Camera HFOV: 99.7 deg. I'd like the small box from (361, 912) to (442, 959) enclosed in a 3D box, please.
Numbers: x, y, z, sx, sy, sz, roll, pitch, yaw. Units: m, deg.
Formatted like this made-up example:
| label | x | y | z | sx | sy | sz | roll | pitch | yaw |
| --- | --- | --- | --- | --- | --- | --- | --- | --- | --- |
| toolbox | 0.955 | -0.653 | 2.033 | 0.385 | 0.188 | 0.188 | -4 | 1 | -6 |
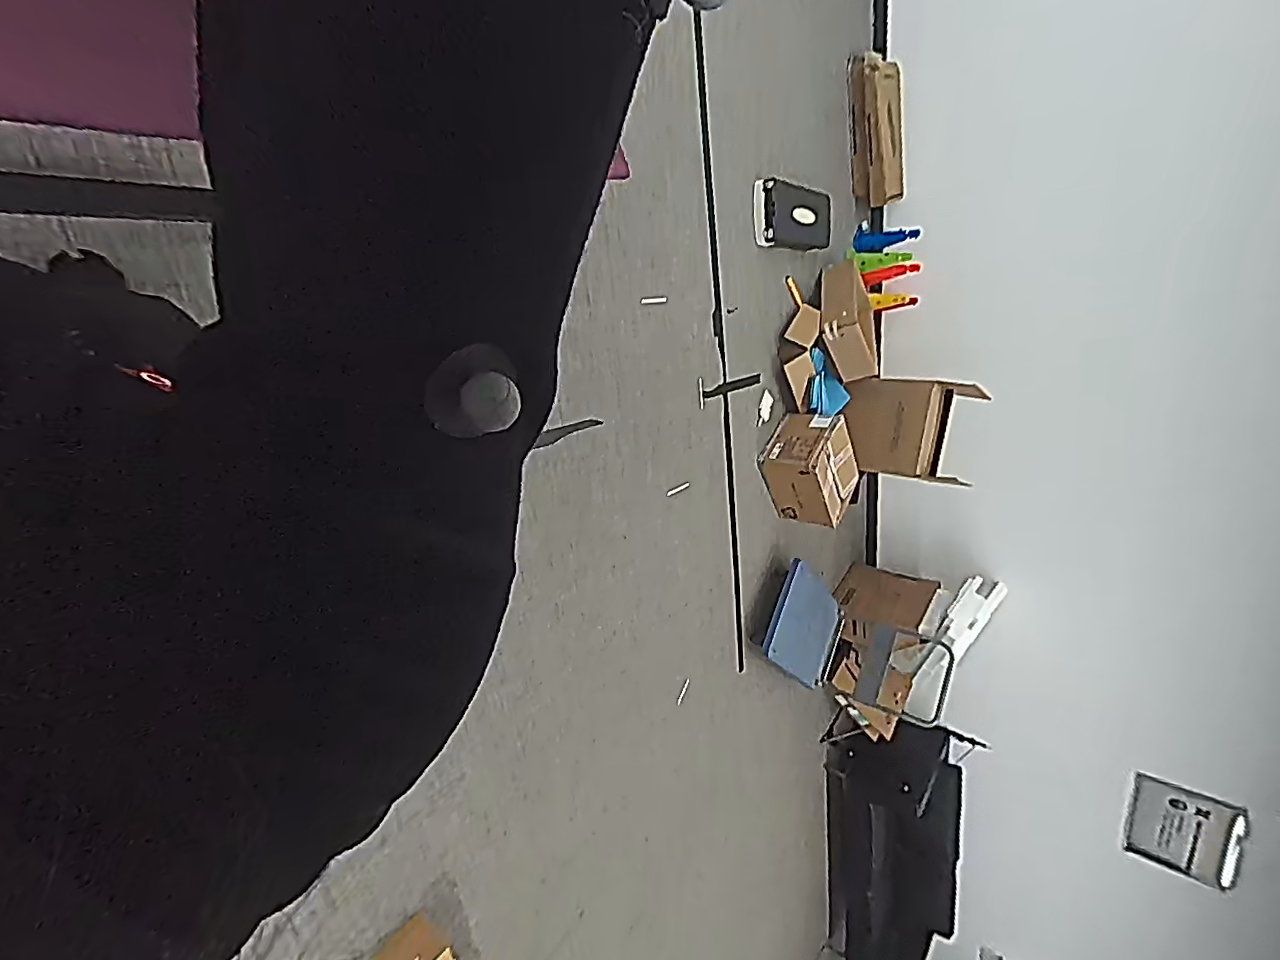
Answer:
| label | x | y | z | sx | sy | sz | roll | pitch | yaw |
| --- | --- | --- | --- | --- | --- | --- | --- | --- | --- |
| small box | -0.694 | 1.432 | 1.575 | 0.179 | 0.176 | 0.168 | -26 | 116 | -45 |
